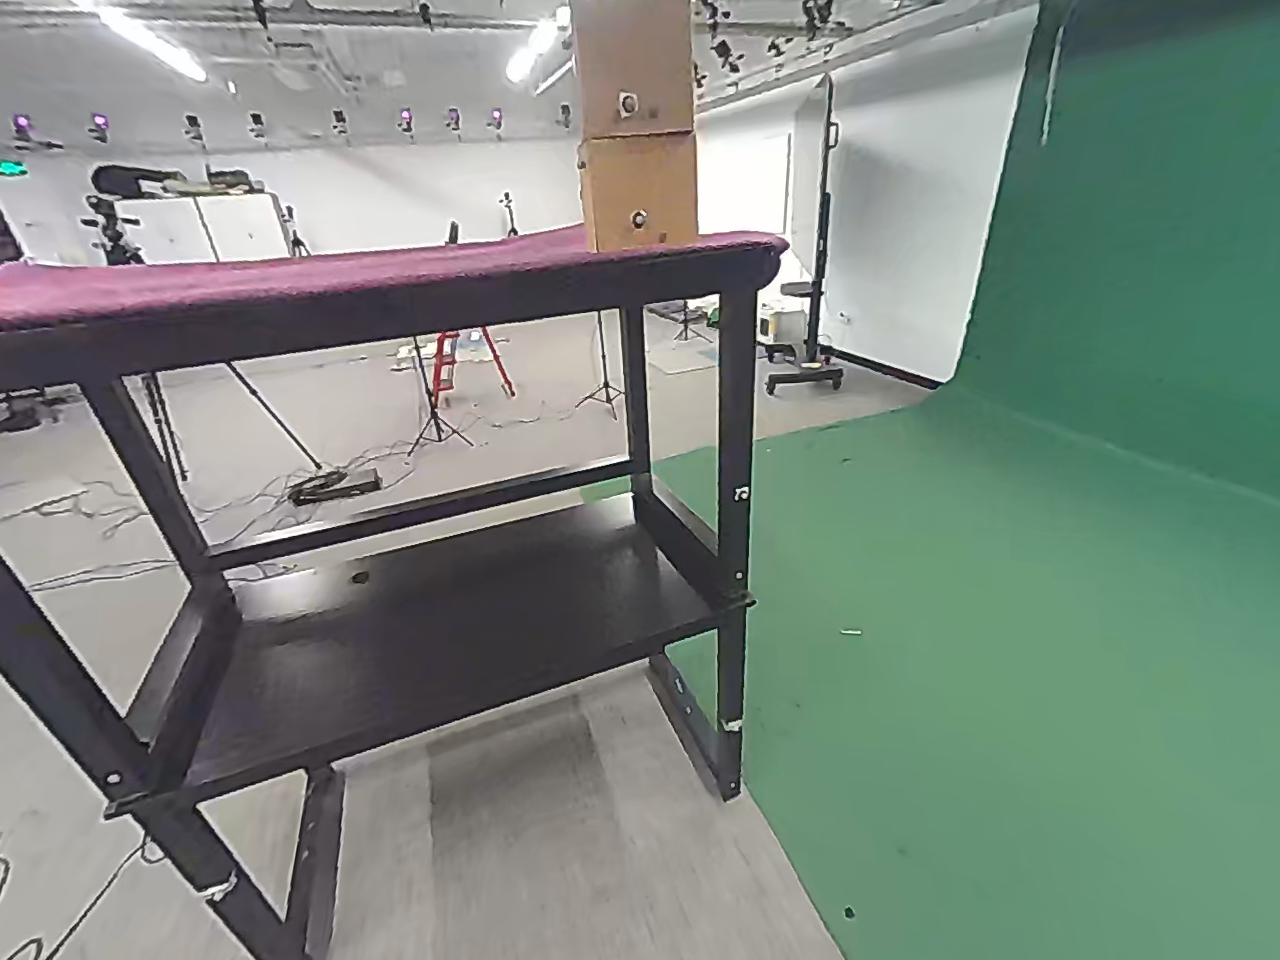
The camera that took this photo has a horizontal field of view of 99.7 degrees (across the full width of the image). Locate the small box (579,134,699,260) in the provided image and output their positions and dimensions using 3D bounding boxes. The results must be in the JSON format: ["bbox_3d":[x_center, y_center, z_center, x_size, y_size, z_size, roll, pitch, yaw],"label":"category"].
[{"bbox_3d":[-0.005,-0.462,0.891,0.168,0.176,0.179,-8,30,-8],"label":"small box"}]

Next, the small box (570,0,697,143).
[{"bbox_3d":[-0.013,-0.601,0.807,0.168,0.176,0.179,-8,30,-4],"label":"small box"}]
